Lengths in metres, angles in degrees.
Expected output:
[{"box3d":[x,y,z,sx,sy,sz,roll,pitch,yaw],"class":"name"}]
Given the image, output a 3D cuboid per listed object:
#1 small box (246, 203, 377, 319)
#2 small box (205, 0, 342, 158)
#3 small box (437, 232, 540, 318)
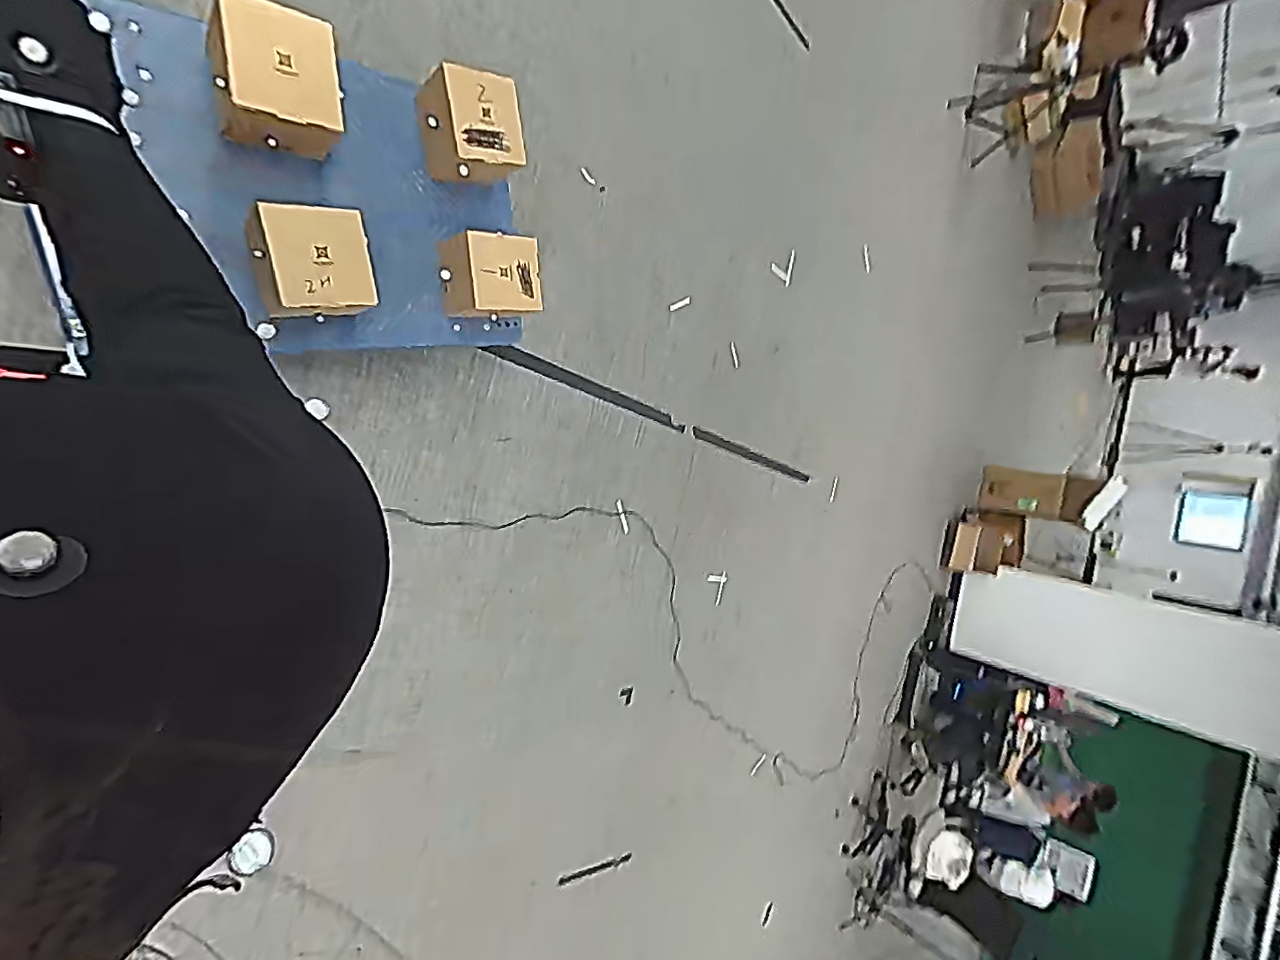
[{"box3d":[-0.638,-0.415,1.047,0.168,0.176,0.179,-18,109,-40],"class":"small box"},{"box3d":[-0.661,-0.715,0.976,0.168,0.176,0.179,-12,107,-42],"class":"small box"},{"box3d":[-0.362,-0.482,1.294,0.179,0.176,0.168,-14,106,-40],"class":"small box"}]
